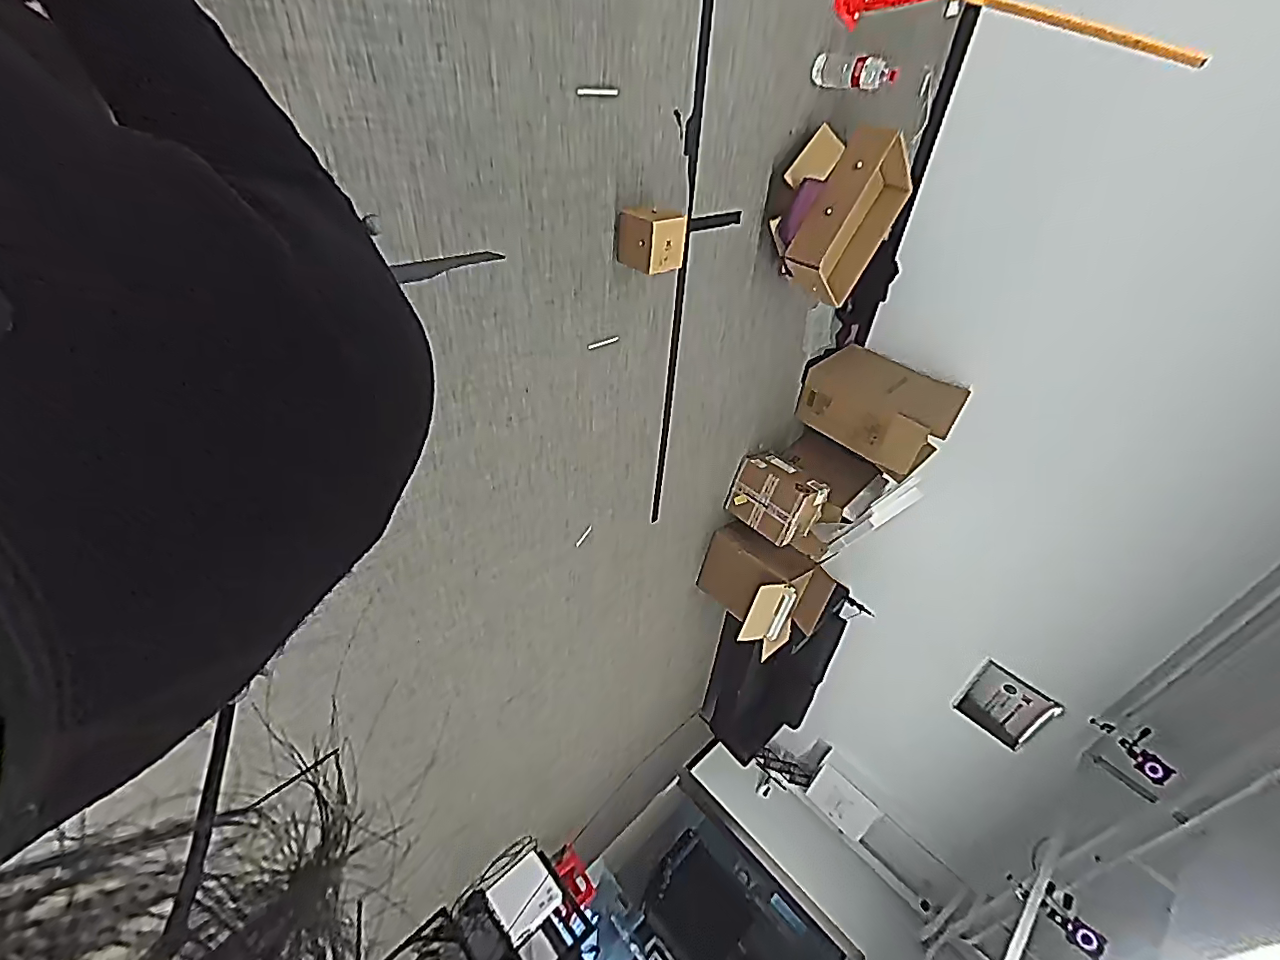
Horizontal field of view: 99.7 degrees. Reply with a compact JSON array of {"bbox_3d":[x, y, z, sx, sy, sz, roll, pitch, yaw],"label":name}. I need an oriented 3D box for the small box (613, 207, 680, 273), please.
[{"bbox_3d":[0.018,-0.850,1.901,0.168,0.176,0.179,-28,140,-35],"label":"small box"}]
